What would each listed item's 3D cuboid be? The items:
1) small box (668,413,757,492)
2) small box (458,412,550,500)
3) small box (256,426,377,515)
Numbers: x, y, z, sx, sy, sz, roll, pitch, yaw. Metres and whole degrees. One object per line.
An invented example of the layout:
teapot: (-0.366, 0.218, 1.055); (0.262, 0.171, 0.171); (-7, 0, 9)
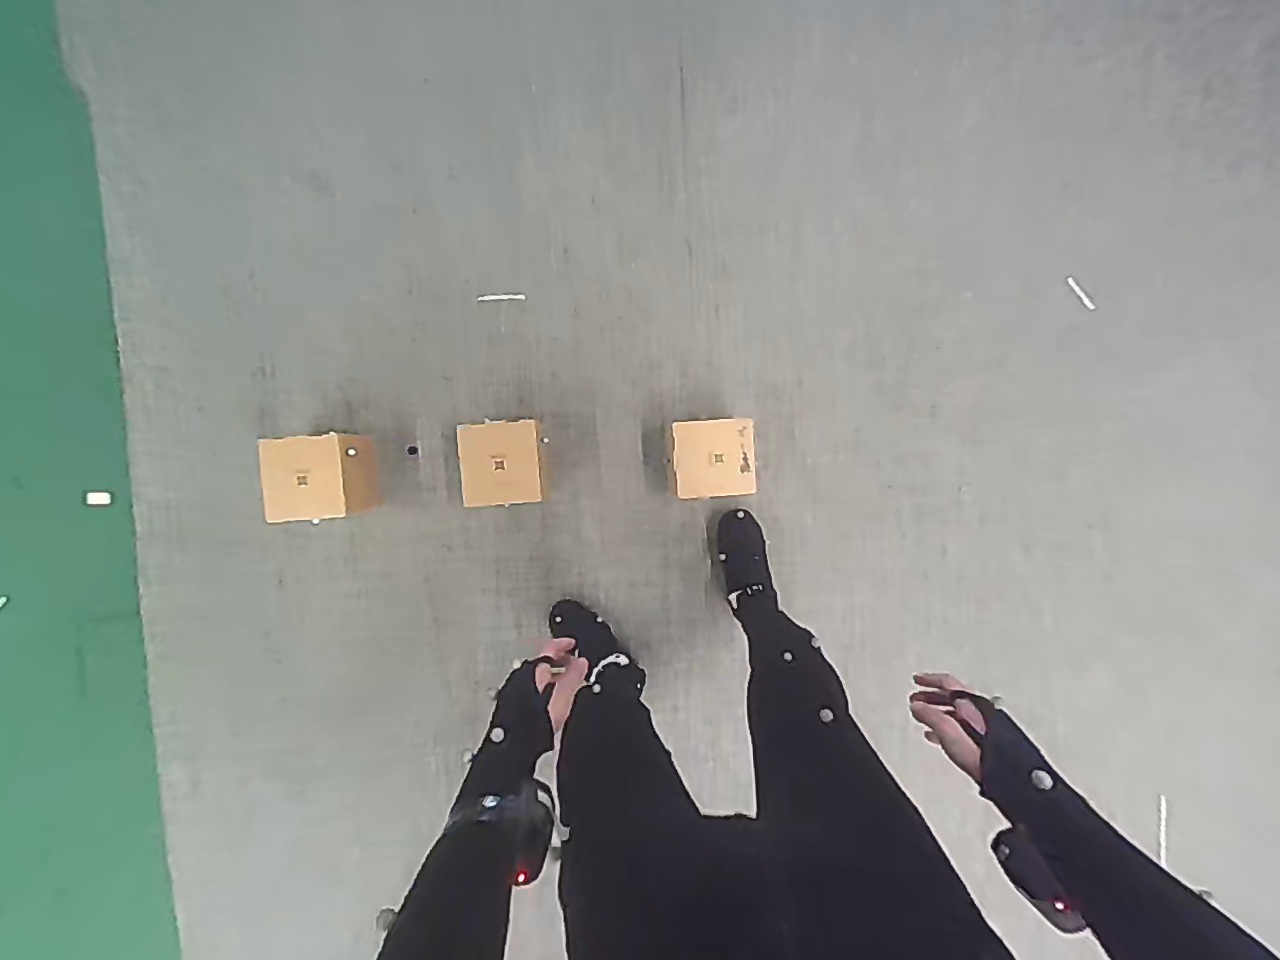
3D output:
small box: (0.156, -0.061, 1.219); (0.179, 0.176, 0.168); (-3, 94, -2)
small box: (-0.295, -0.052, 1.199); (0.168, 0.176, 0.179); (-4, 93, -2)
small box: (-0.694, -0.023, 1.180); (0.168, 0.176, 0.179); (-4, 92, -2)
